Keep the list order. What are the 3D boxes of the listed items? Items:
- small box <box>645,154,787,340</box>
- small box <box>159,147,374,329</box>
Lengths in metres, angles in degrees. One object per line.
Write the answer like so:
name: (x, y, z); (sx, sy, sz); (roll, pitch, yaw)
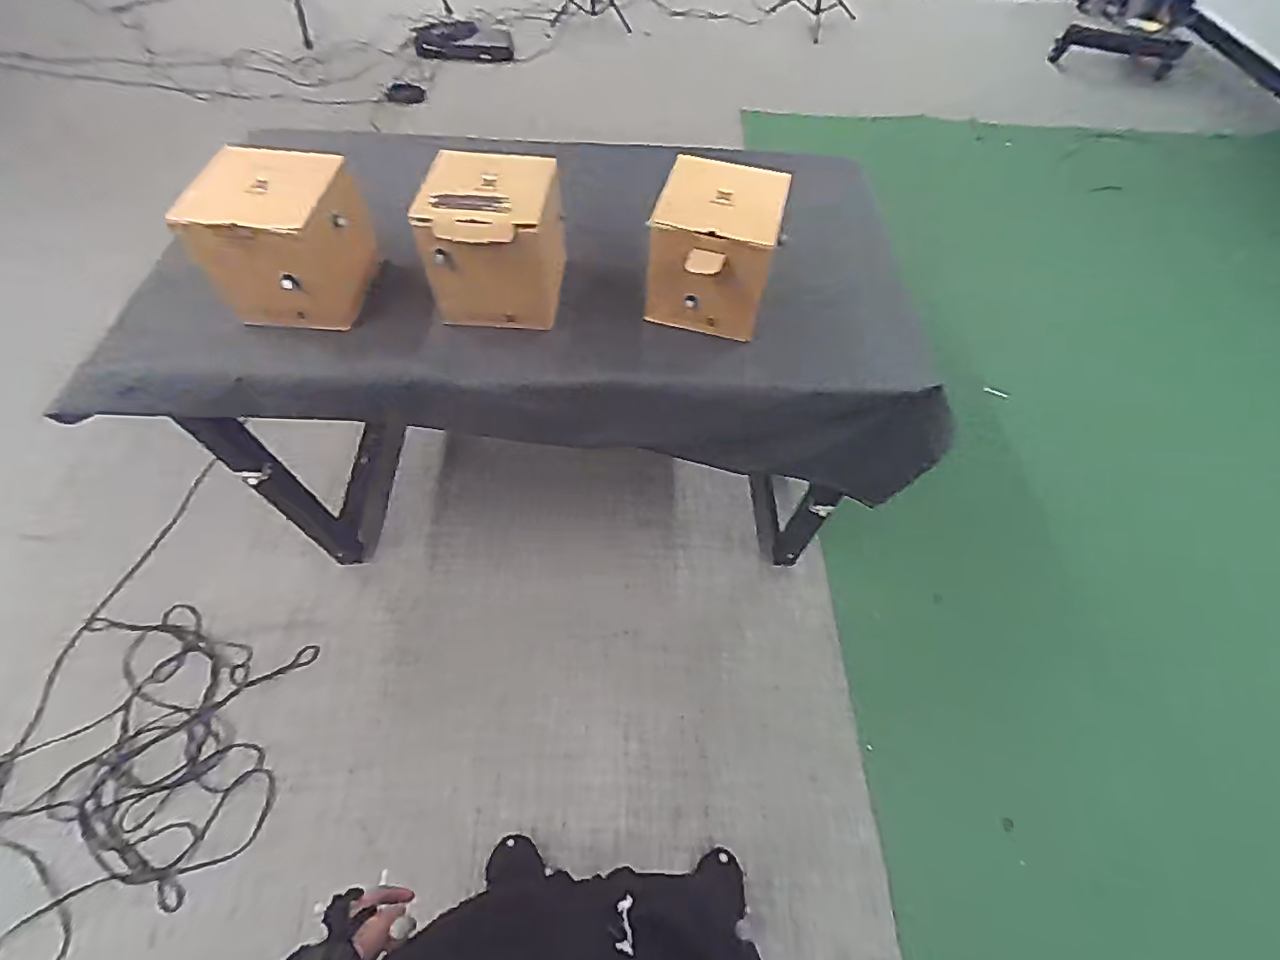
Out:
small box: (0.107, -0.341, 0.803); (0.168, 0.176, 0.179); (14, 59, 5)
small box: (-0.505, -0.337, 0.768); (0.168, 0.176, 0.179); (4, 57, -3)
